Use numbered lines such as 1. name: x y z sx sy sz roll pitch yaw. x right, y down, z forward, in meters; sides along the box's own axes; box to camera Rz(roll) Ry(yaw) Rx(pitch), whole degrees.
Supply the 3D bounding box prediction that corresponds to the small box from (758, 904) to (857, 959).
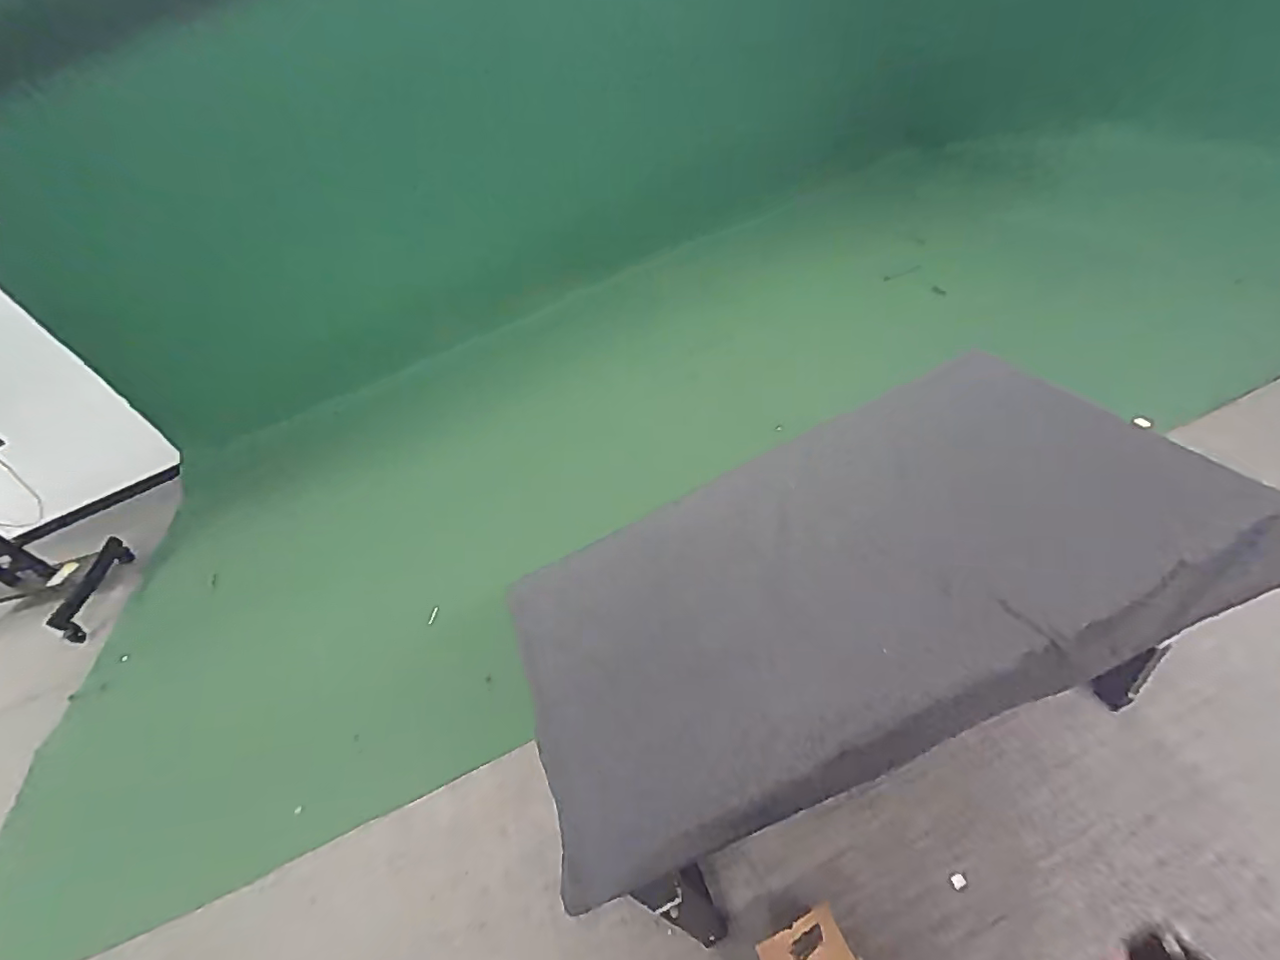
1. small box: 0.355 0.990 1.064 0.168 0.176 0.179 -28 42 -5
